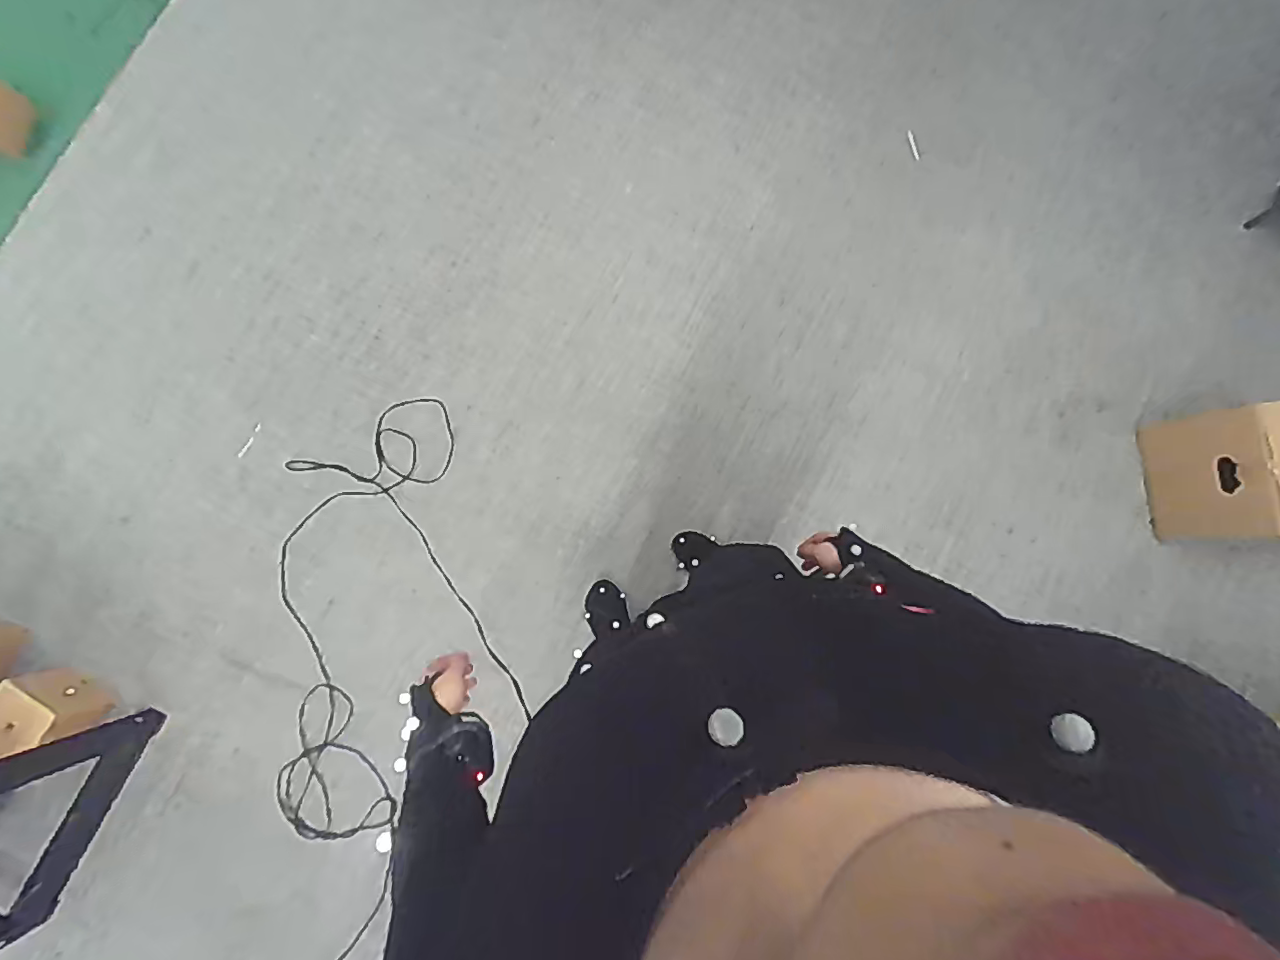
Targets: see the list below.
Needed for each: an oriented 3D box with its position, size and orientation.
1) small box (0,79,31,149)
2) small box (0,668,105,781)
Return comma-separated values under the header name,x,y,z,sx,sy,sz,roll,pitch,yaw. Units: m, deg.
name,x,y,z,sx,sy,sz,roll,pitch,yaw
small box,-1.951,-1.103,1.568,0.168,0.176,0.179,12,82,1
small box,-1.525,0.603,1.363,0.168,0.176,0.179,32,84,3
